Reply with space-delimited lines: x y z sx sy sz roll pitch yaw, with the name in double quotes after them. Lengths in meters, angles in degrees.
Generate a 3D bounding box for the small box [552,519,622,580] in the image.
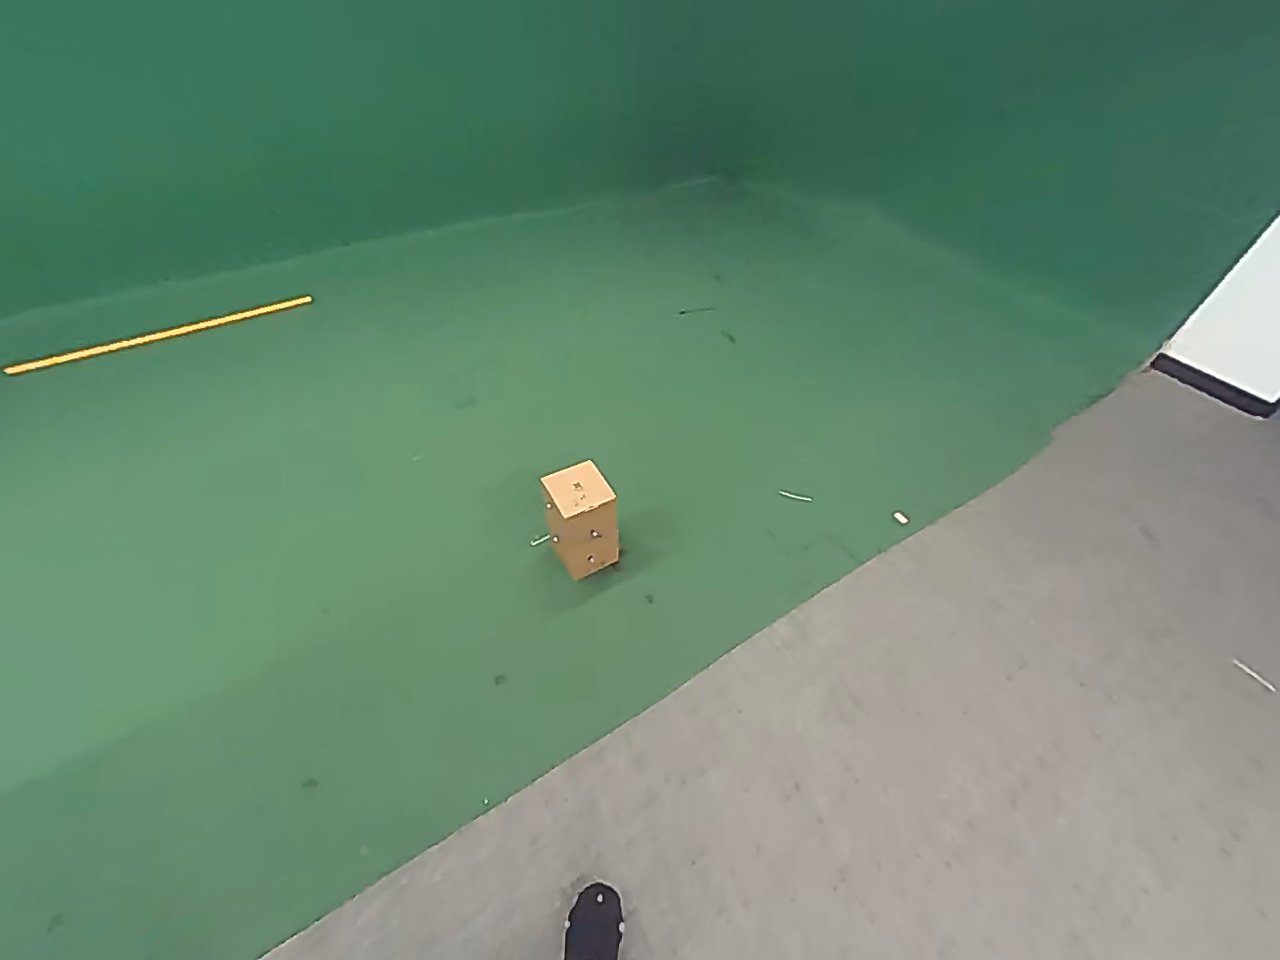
-0.166 0.200 1.747 0.168 0.176 0.179 -25 52 -21 "small box"

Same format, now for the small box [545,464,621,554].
-0.169 0.089 1.624 0.168 0.176 0.179 -23 52 -19 "small box"
